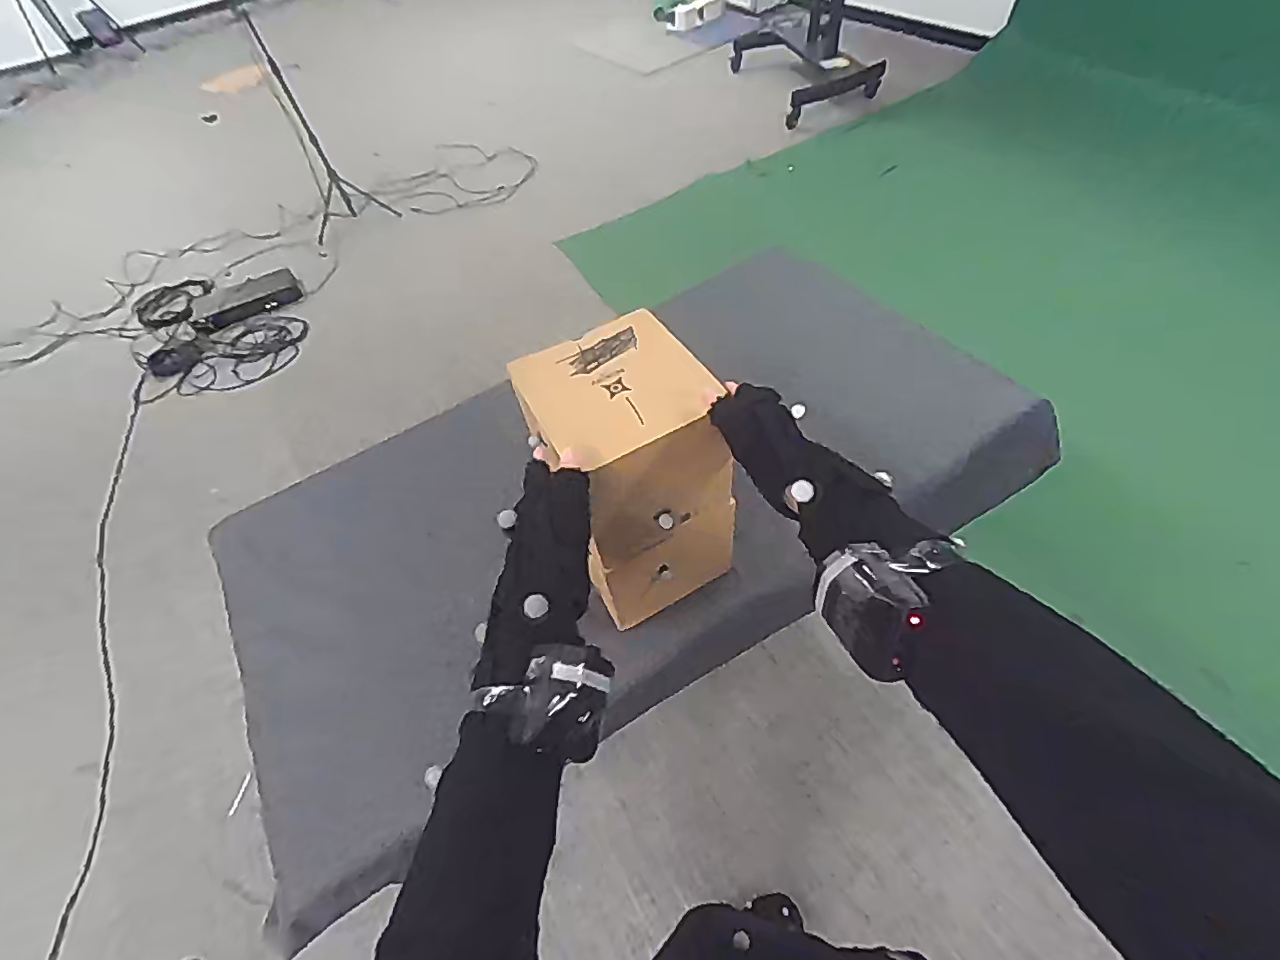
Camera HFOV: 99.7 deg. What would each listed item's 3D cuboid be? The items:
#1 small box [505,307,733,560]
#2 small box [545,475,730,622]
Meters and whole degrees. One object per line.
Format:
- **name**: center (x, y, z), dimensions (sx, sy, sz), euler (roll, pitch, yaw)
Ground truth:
- **small box**: center (-0.018, -0.047, 0.581), dimensions (0.168, 0.176, 0.179), euler (-29, 54, -13)
- **small box**: center (0.004, 0.056, 0.707), dimensions (0.179, 0.176, 0.168), euler (-28, 55, -11)
